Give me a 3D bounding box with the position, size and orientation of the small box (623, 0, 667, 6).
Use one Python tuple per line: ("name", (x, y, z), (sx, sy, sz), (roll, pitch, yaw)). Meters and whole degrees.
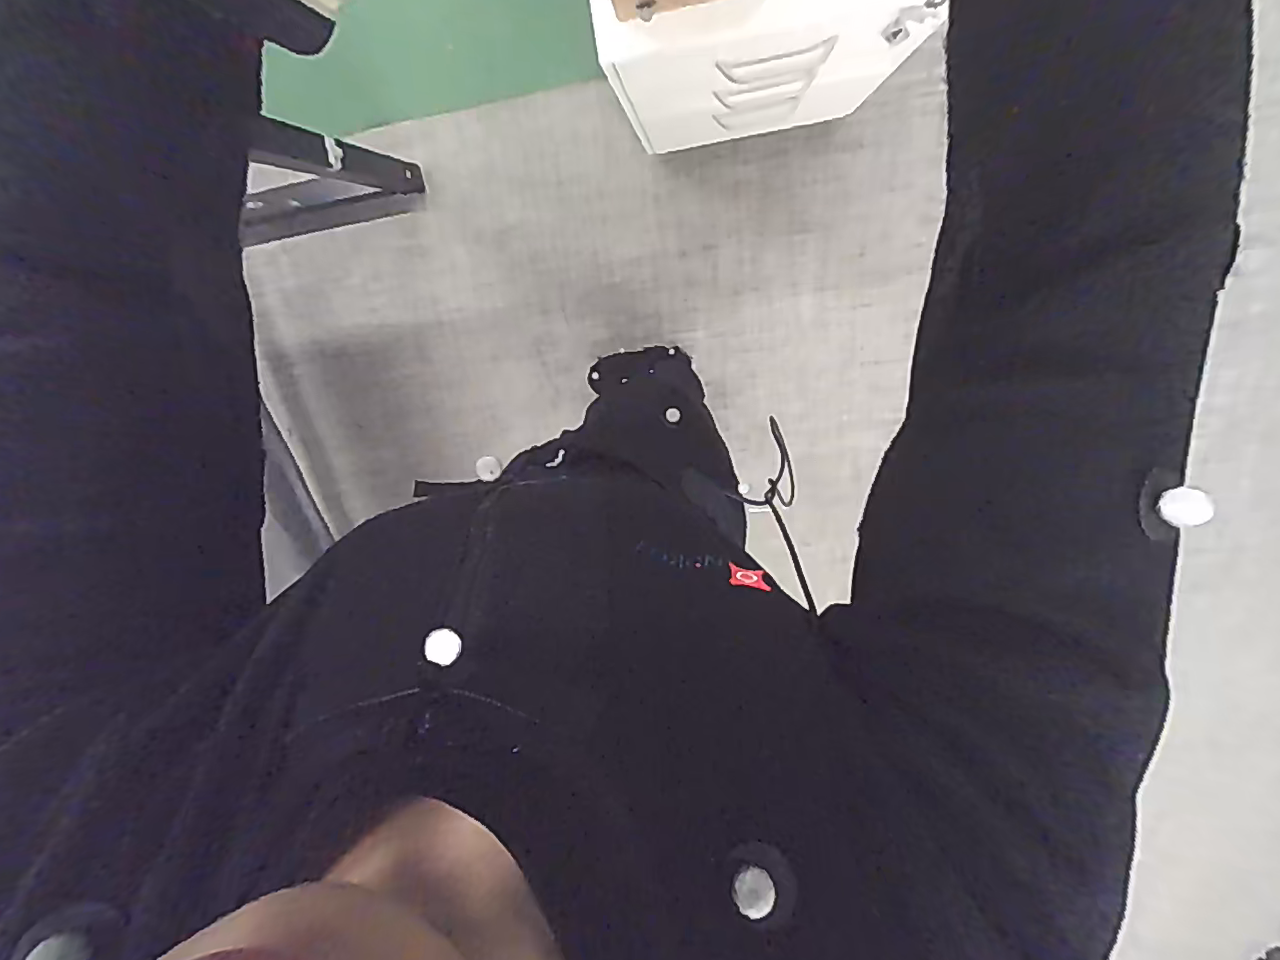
("small box", (0.035, -0.540, 0.450), (0.168, 0.176, 0.179), (-6, 110, 7))
